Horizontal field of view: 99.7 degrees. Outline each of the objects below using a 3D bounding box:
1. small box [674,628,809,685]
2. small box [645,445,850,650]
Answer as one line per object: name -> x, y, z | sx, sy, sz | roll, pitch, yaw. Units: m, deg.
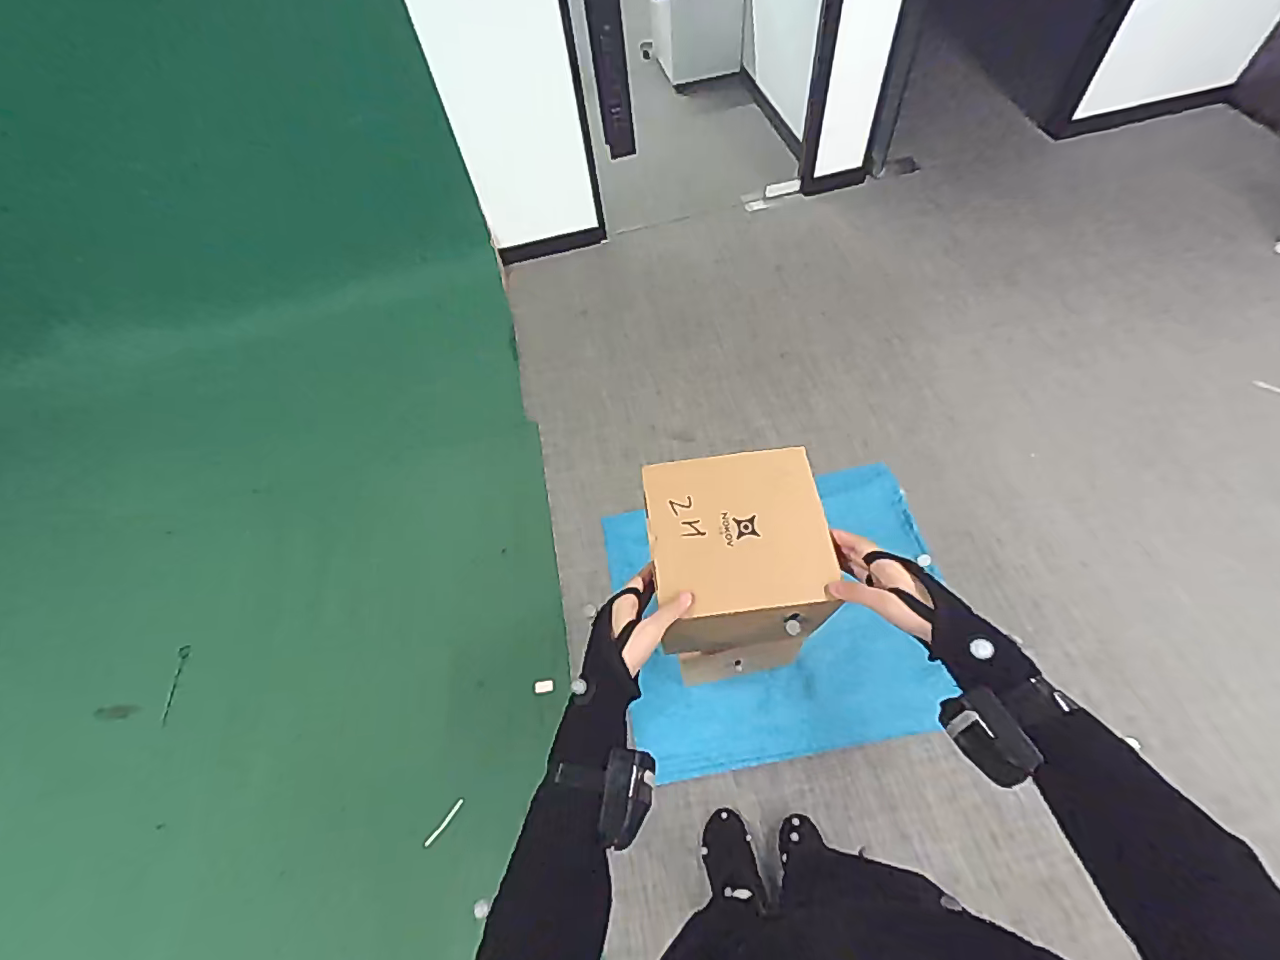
small box -> 0.128, 0.189, 0.800 | 0.179, 0.176, 0.168 | -12, 57, 0
small box -> 0.101, 0.081, 0.594 | 0.179, 0.176, 0.168 | -7, 61, 0
